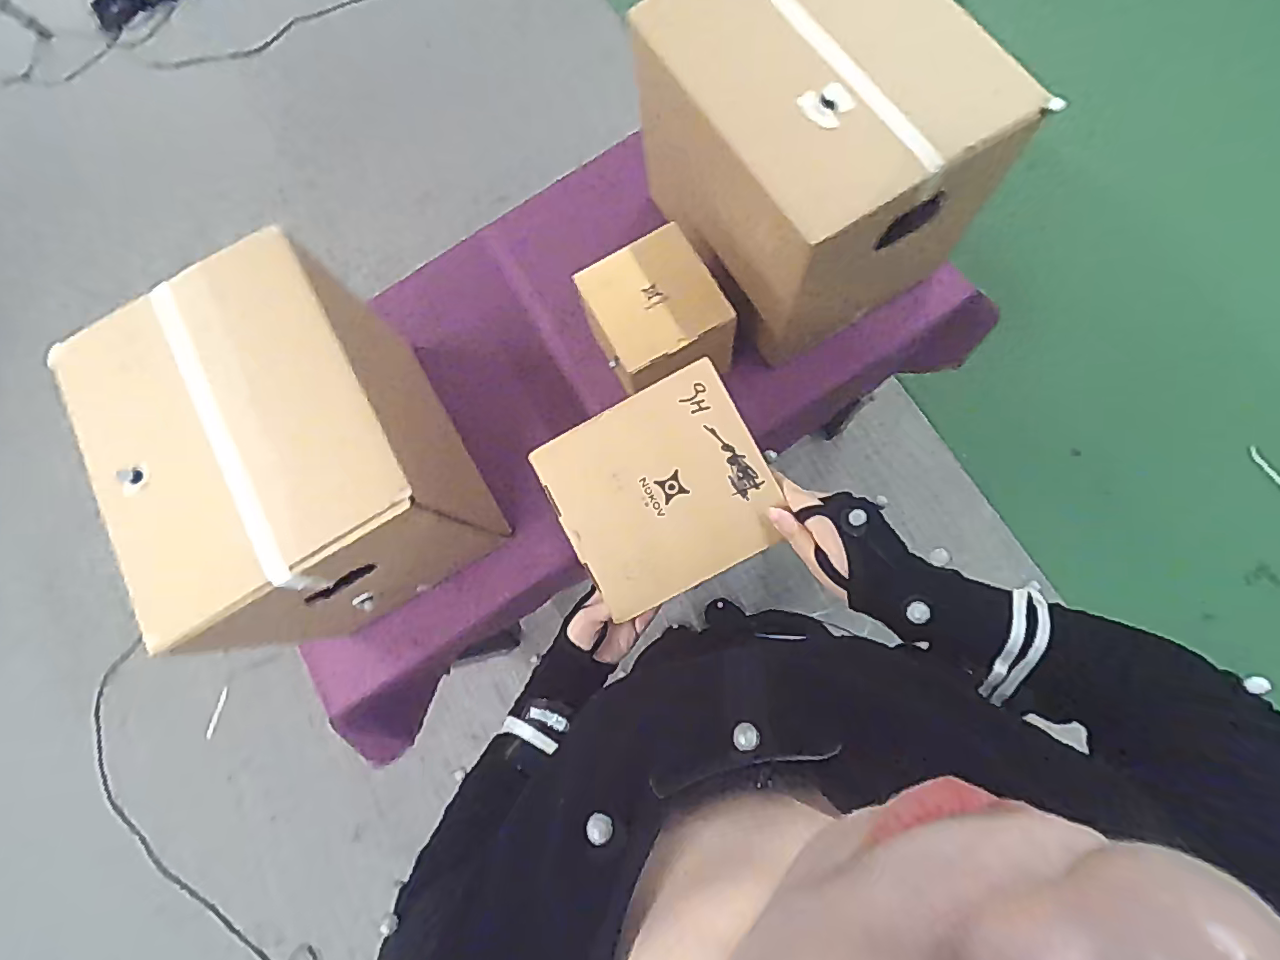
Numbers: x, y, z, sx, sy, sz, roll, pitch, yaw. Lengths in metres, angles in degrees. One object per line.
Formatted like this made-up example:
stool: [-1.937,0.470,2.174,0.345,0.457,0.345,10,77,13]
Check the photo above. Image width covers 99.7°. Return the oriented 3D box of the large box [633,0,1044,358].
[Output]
large box: [0.228,-0.464,0.779,0.320,0.320,0.408,-31,77,-2]
